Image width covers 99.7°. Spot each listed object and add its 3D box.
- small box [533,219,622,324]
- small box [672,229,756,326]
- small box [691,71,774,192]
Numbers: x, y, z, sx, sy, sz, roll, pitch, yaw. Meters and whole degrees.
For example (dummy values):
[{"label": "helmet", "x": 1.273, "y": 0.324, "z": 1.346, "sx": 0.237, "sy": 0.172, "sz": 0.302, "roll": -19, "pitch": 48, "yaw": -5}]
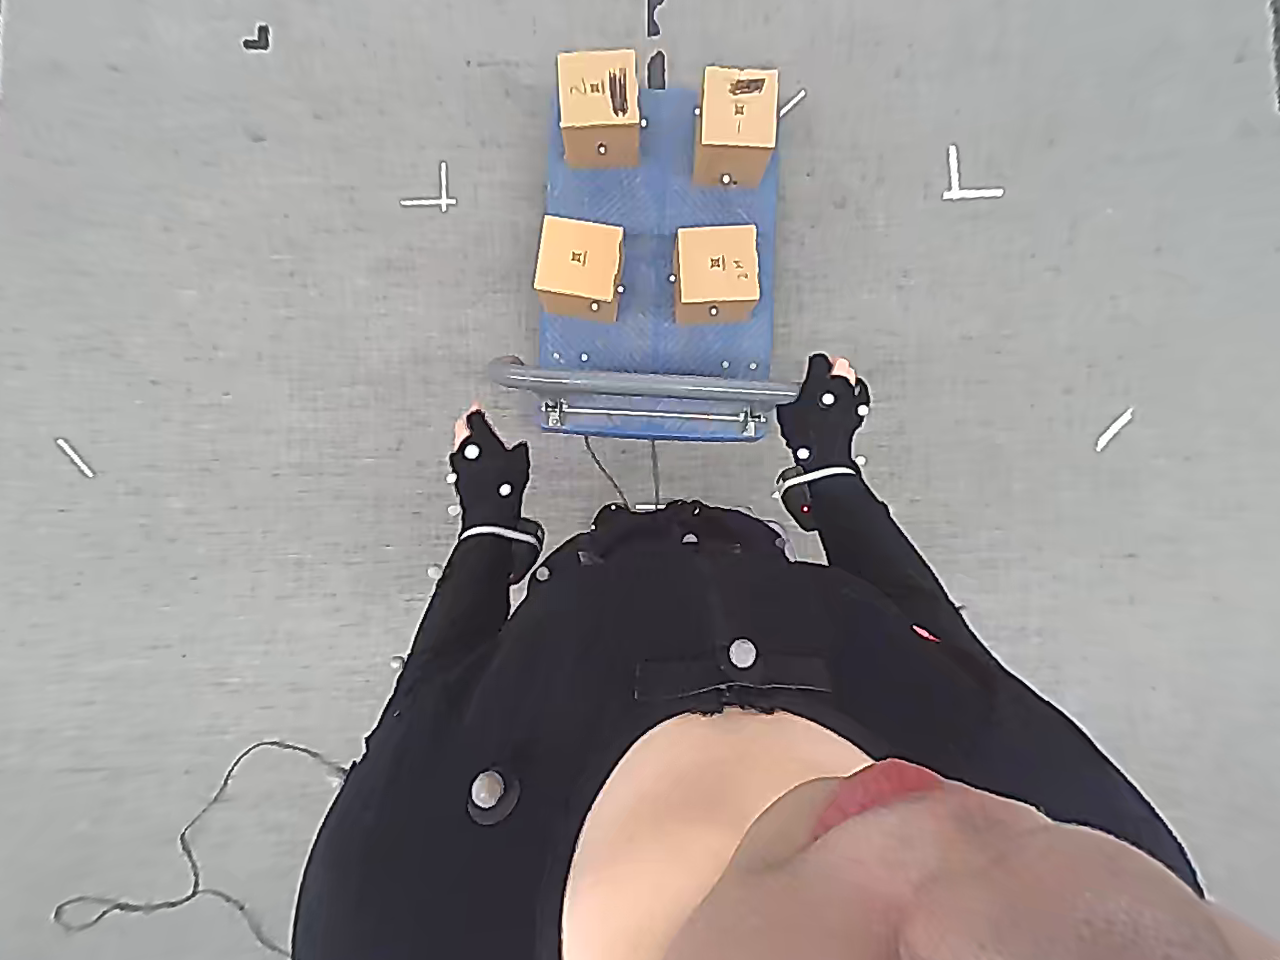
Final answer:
[{"label": "small box", "x": -0.141, "y": -0.480, "z": 1.269, "sx": 0.179, "sy": 0.176, "sz": 0.168, "roll": 8, "pitch": 88, "yaw": -2}, {"label": "small box", "x": 0.166, "y": -0.469, "z": 1.274, "sx": 0.179, "sy": 0.176, "sz": 0.168, "roll": -3, "pitch": 89, "yaw": -1}, {"label": "small box", "x": 0.213, "y": -0.819, "z": 1.283, "sx": 0.168, "sy": 0.176, "sz": 0.179, "roll": 3, "pitch": 90, "yaw": -1}]
